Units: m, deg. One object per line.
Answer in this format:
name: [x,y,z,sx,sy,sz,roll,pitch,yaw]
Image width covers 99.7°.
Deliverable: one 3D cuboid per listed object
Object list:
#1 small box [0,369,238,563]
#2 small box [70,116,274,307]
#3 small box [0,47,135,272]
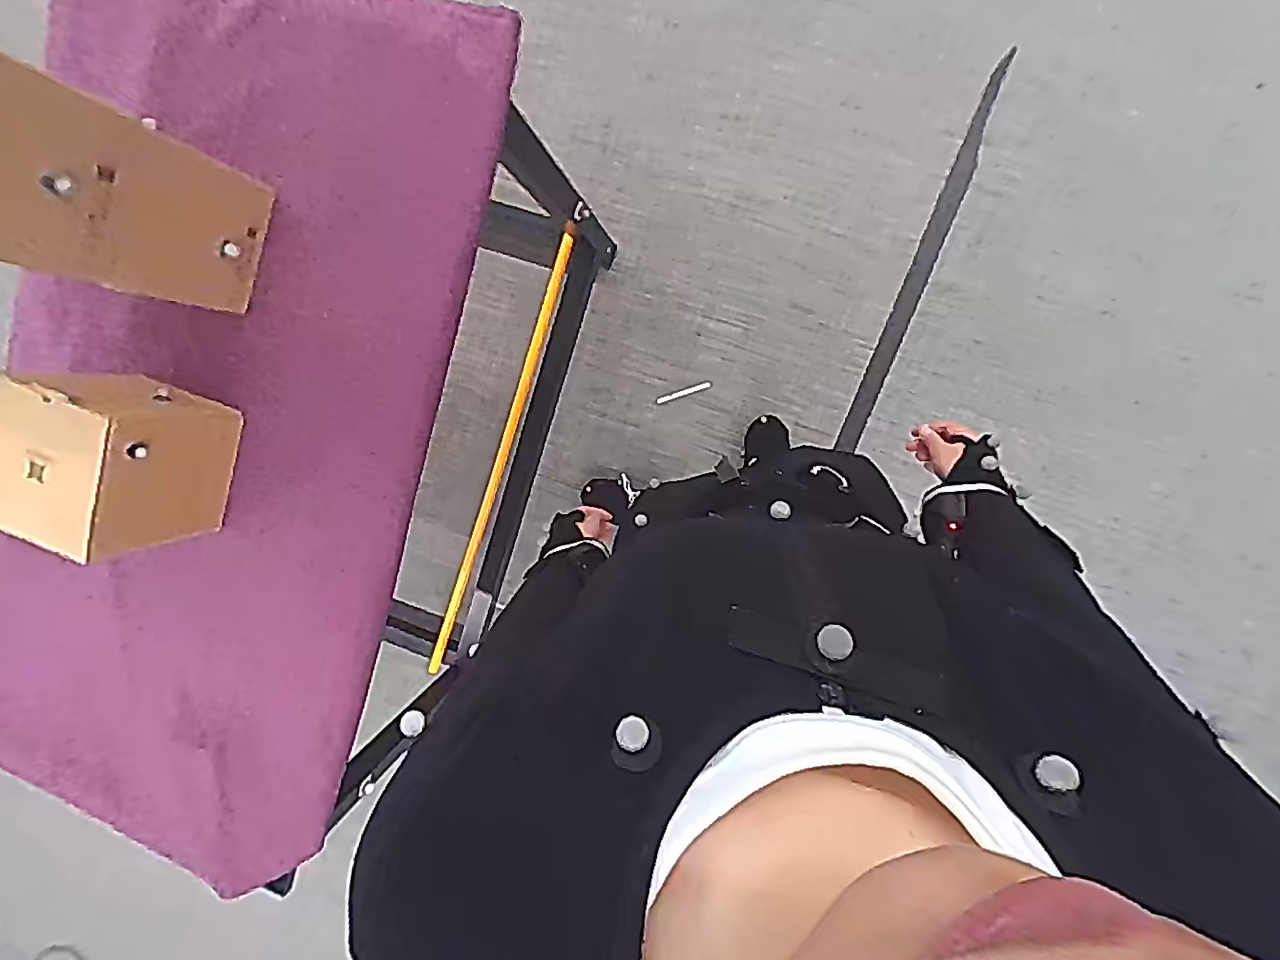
small box: [-0.647,-0.024,0.670,0.168,0.176,0.179,20,99,6]
small box: [-0.576,-0.315,0.620,0.179,0.176,0.168,23,100,5]
small box: [-0.599,-0.297,0.457,0.179,0.176,0.168,23,101,5]
